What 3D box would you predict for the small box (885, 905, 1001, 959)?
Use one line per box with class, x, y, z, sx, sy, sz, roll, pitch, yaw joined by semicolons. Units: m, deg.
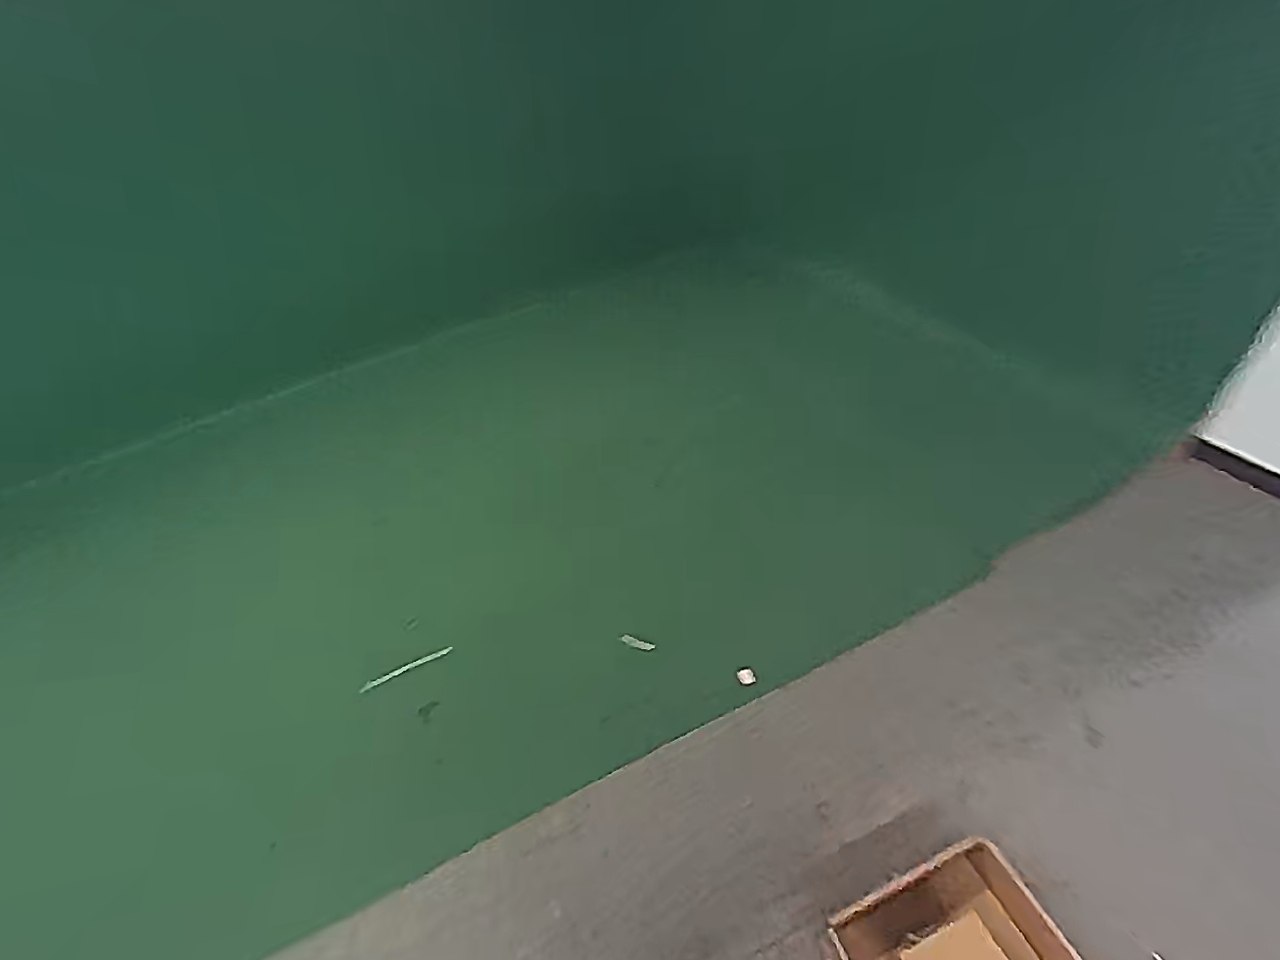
small box;0.603;0.973;1.052;0.179;0.176;0.168;-22;46;-8
